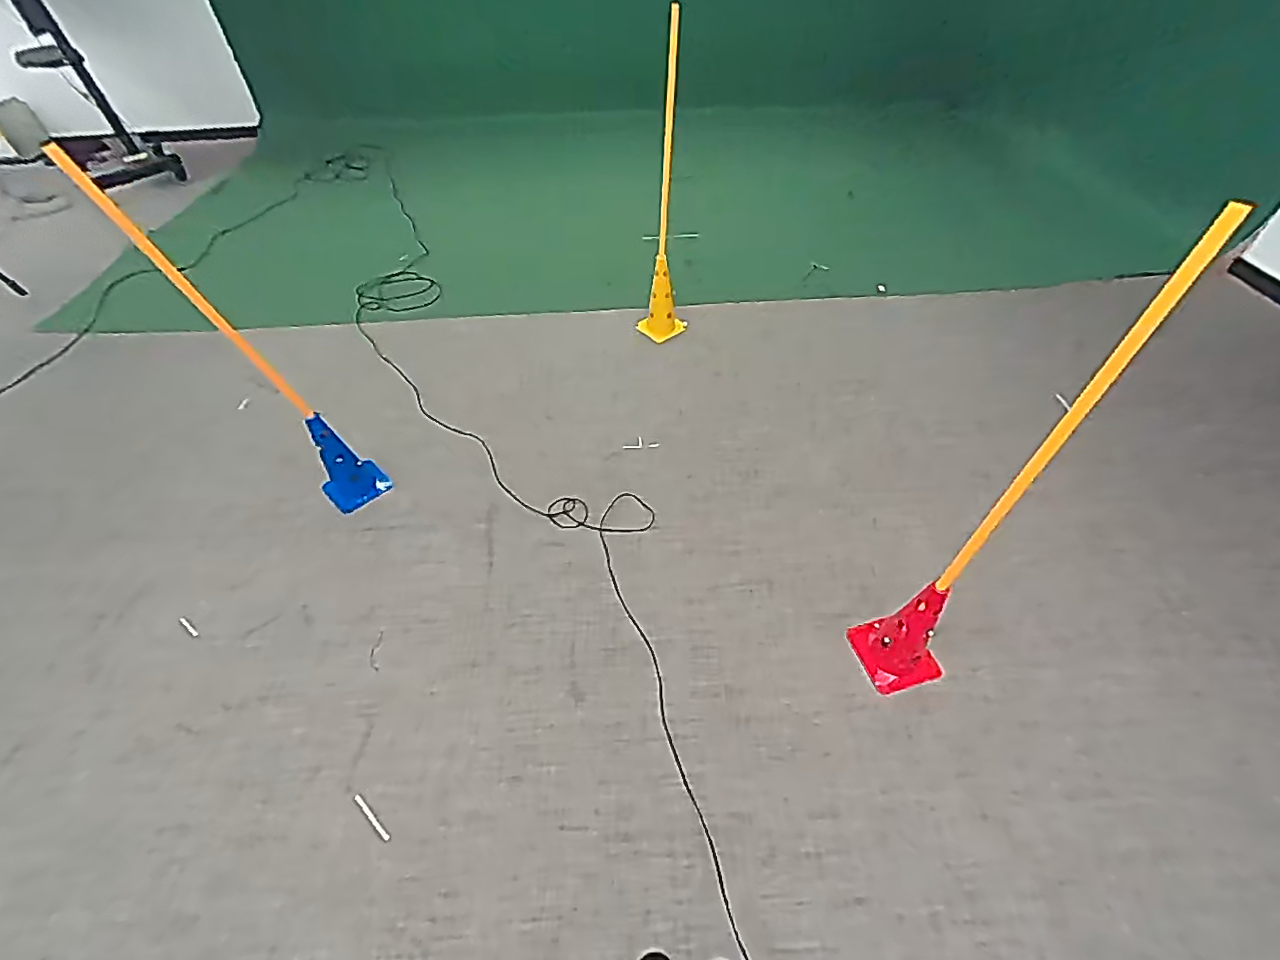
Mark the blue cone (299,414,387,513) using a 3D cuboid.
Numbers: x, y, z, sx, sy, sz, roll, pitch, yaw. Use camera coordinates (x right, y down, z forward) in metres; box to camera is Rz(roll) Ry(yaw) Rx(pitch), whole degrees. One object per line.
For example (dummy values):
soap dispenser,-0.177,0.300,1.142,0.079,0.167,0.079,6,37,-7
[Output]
blue cone,-1.054,-0.074,1.859,0.192,0.380,0.193,34,60,27
